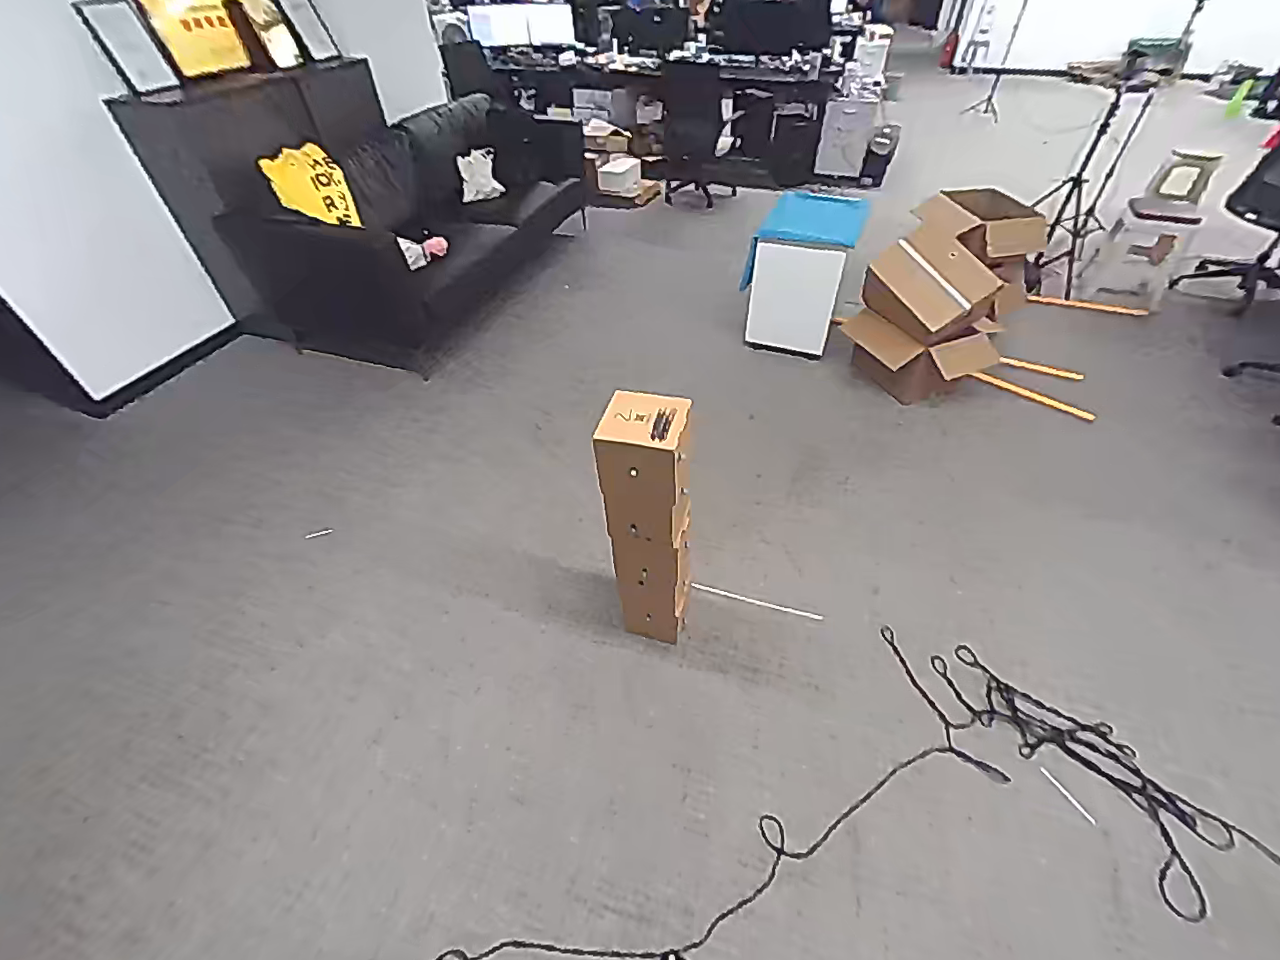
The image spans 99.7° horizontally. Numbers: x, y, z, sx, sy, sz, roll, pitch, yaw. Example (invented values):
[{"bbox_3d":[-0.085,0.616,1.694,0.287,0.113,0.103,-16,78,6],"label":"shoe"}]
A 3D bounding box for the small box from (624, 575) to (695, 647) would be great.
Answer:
[{"bbox_3d":[0.061,0.386,1.658,0.179,0.176,0.168,12,46,14],"label":"small box"}]

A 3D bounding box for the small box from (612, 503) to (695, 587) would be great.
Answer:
[{"bbox_3d":[0.039,0.159,1.423,0.179,0.176,0.168,11,46,13],"label":"small box"}]

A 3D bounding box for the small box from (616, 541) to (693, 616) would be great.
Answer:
[{"bbox_3d":[0.046,0.266,1.548,0.179,0.176,0.168,12,47,15],"label":"small box"}]

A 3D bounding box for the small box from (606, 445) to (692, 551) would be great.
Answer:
[{"bbox_3d":[0.026,0.044,1.309,0.168,0.176,0.179,10,47,14],"label":"small box"}]
